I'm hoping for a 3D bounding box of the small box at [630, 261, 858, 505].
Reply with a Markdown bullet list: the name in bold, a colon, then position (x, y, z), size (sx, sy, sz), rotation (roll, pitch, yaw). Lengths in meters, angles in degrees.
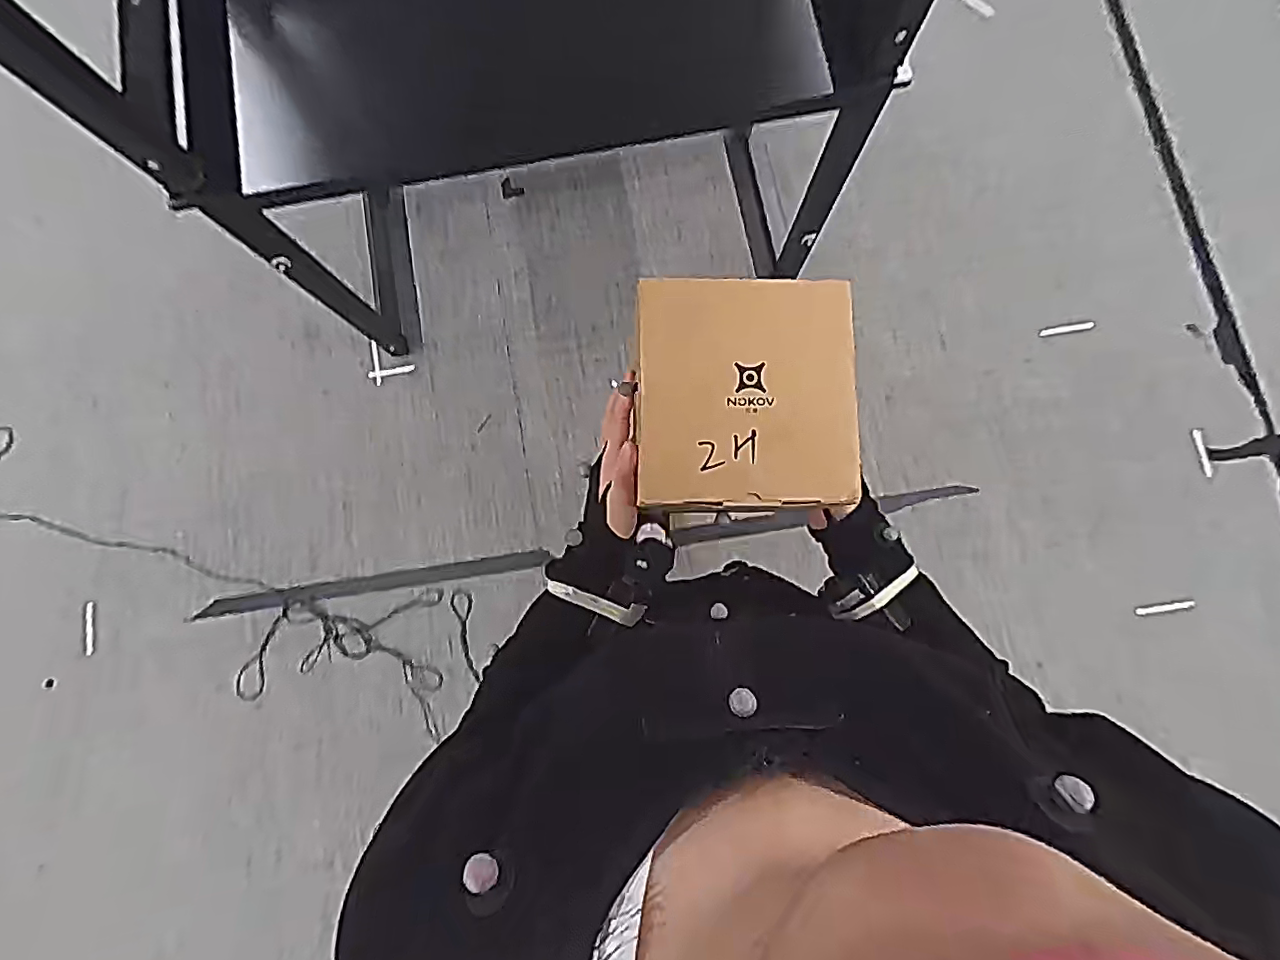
- **small box**: position (0.076, -0.071, 0.484), size (0.168, 0.176, 0.179), rotation (0, 85, -2)
